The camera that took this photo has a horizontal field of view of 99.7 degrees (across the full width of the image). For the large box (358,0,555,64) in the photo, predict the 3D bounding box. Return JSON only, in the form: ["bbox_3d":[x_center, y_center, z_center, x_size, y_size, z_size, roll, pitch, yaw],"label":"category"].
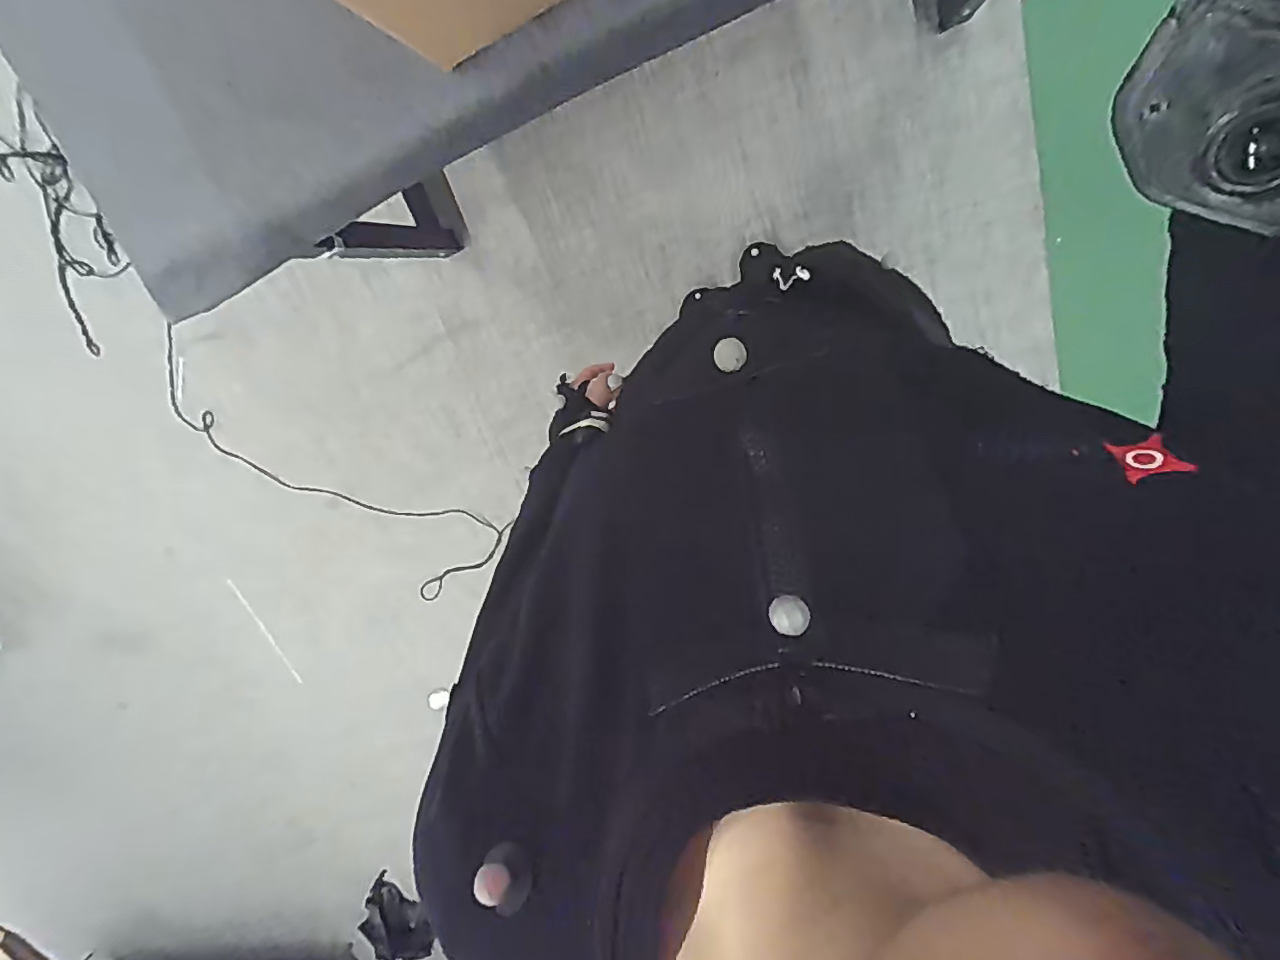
[{"bbox_3d":[-0.090,-0.543,0.297,0.408,0.320,0.320,-18,107,16],"label":"large box"}]
